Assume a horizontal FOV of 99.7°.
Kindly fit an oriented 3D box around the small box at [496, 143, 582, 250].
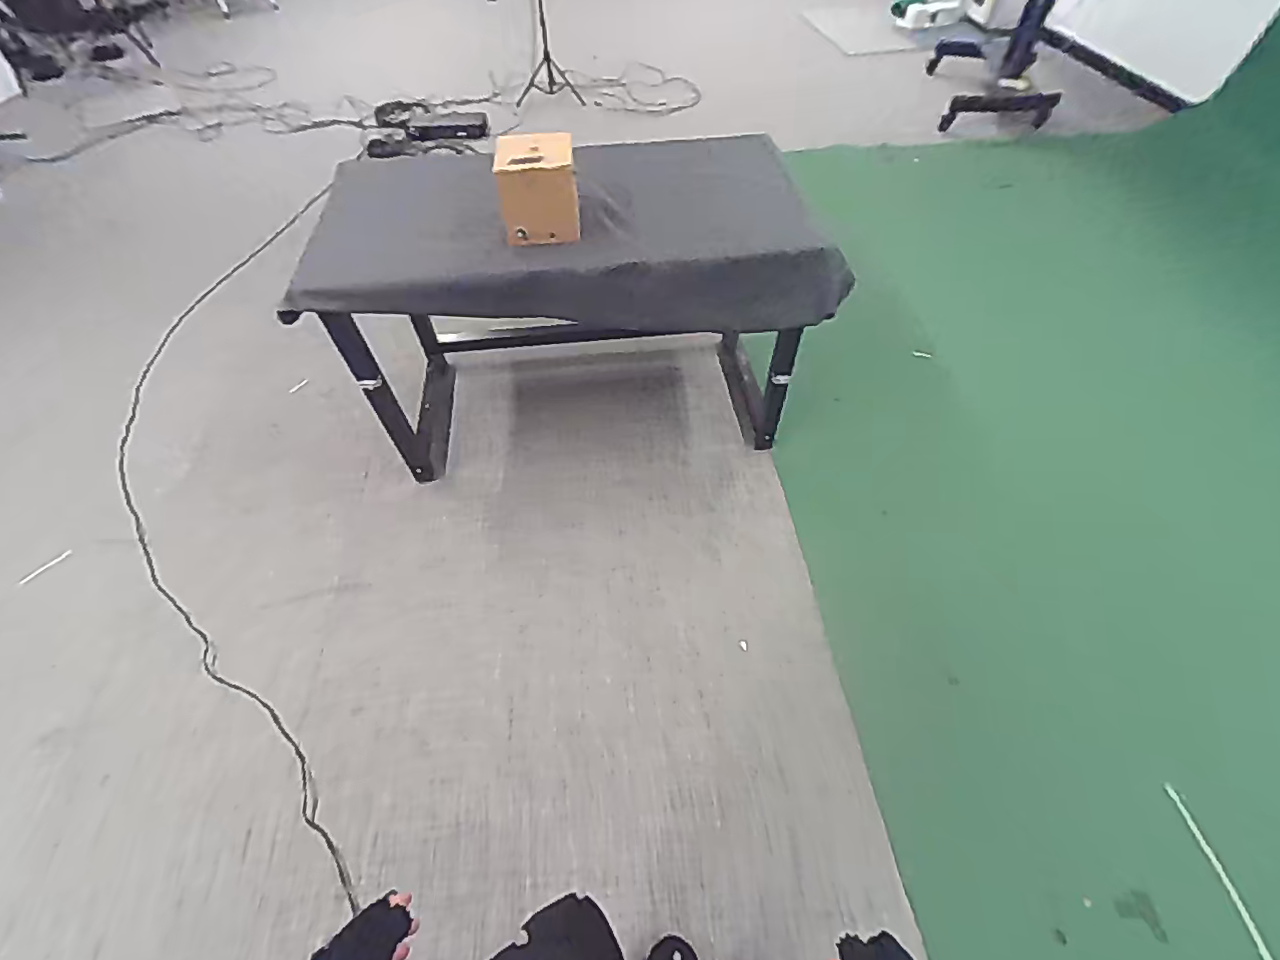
[{"bbox_3d":[-0.226,-0.647,1.248,0.168,0.176,0.179,-5,52,-2],"label":"small box"}]
